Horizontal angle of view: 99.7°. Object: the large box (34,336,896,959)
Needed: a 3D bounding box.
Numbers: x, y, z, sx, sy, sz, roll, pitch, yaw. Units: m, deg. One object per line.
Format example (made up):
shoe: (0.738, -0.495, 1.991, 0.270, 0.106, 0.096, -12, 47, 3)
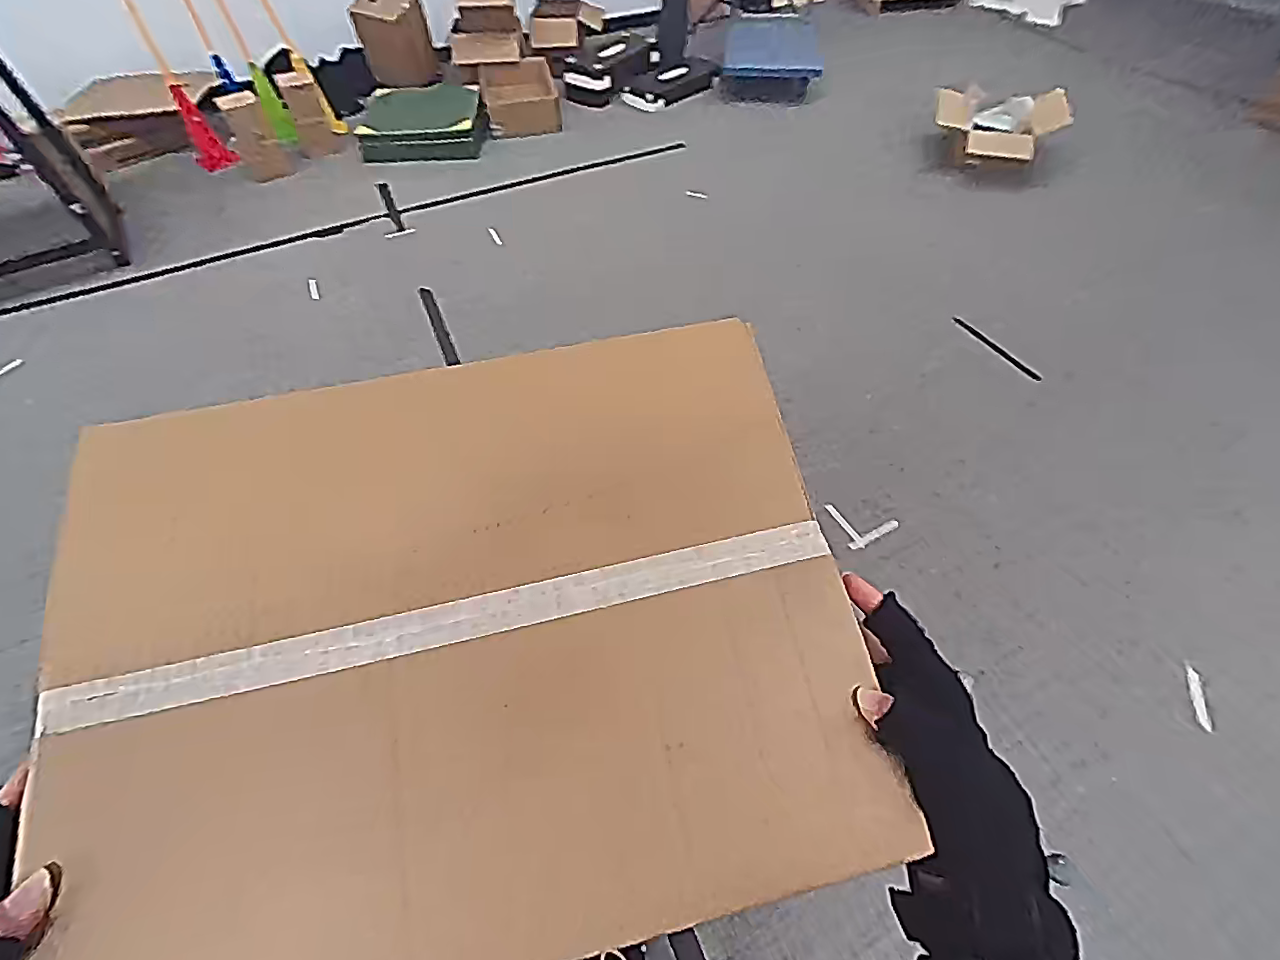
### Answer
large box: (-0.101, 0.135, 0.433, 0.408, 0.320, 0.320, -13, 70, -6)
